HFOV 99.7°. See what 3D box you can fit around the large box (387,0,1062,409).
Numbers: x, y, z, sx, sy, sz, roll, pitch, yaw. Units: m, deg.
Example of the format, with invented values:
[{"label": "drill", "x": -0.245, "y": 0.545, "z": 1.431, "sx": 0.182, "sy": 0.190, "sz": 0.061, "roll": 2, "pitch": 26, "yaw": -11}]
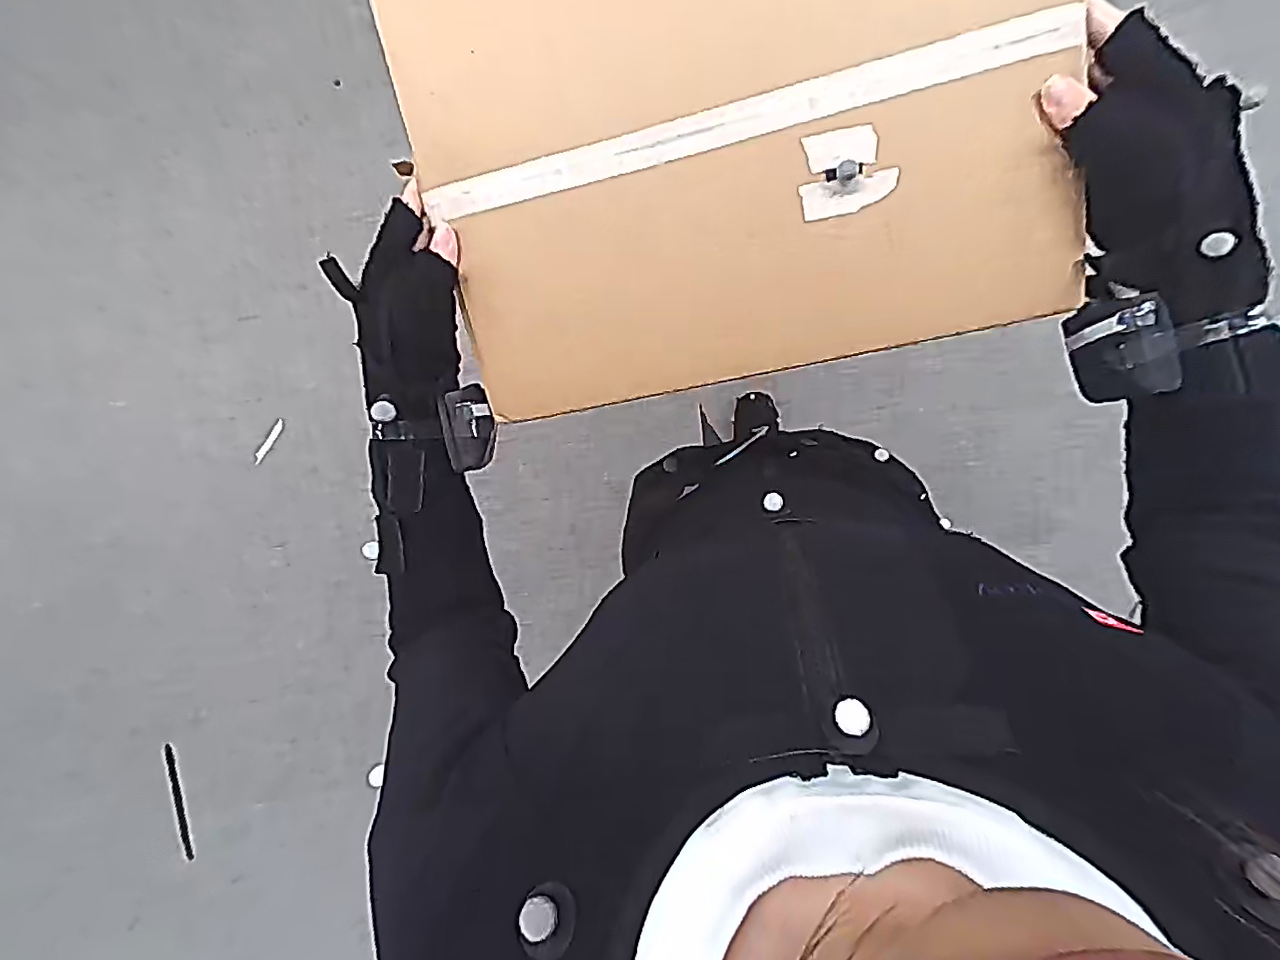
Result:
[{"label": "large box", "x": 0.067, "y": -0.277, "z": 0.493, "sx": 0.408, "sy": 0.320, "sz": 0.320, "roll": -11, "pitch": 106, "yaw": 8}]
